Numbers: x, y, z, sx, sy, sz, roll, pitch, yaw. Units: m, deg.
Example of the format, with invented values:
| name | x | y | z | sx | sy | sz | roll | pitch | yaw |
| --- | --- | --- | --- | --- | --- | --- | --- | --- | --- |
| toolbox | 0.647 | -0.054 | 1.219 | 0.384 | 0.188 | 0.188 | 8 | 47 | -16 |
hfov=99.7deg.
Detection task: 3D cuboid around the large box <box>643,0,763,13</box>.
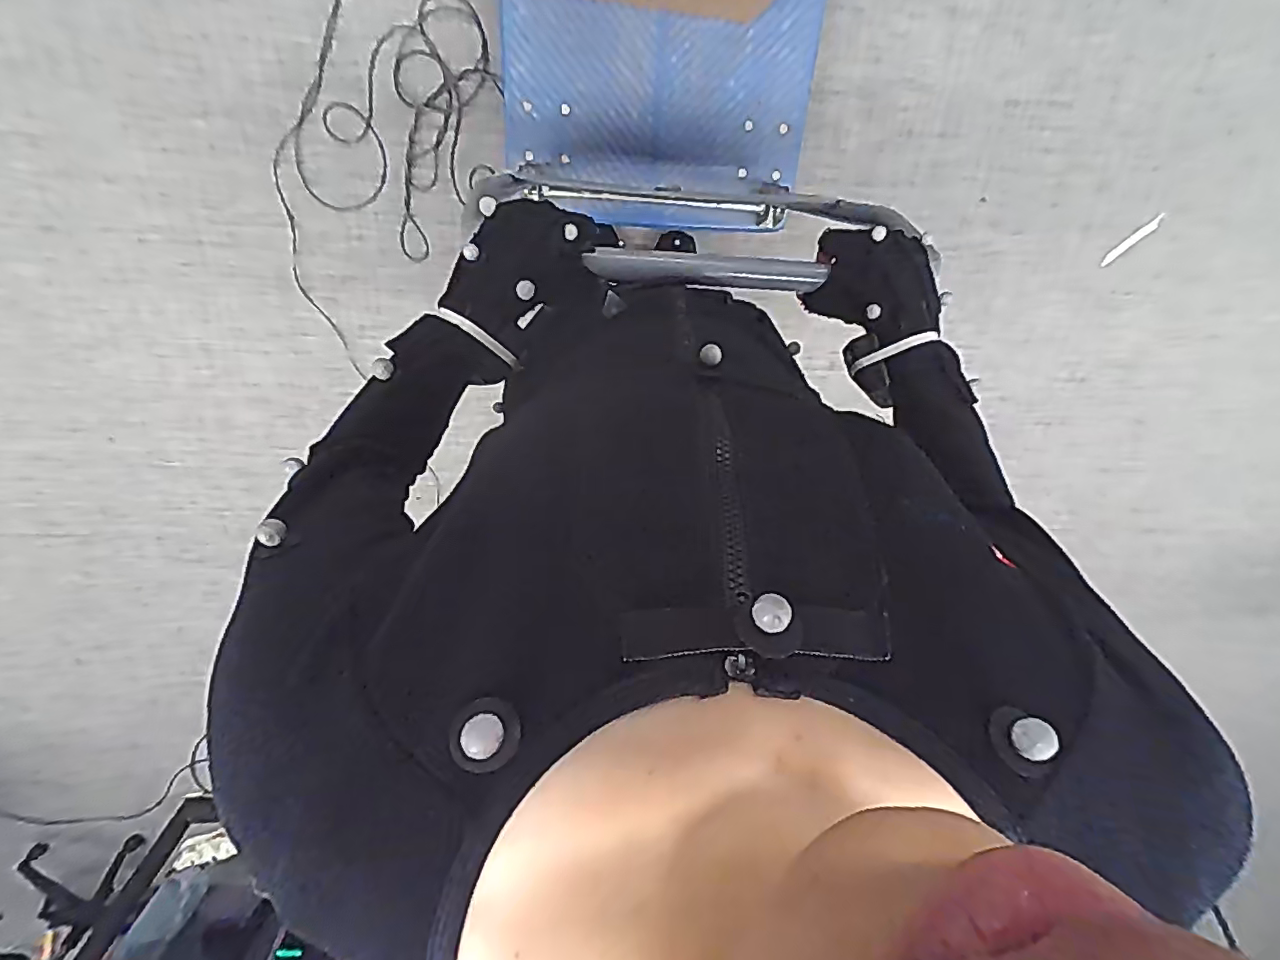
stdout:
| name | x | y | z | sx | sy | sz | roll | pitch | yaw |
| --- | --- | --- | --- | --- | --- | --- | --- | --- | --- |
| large box | 0.029 | -0.905 | 0.754 | 0.408 | 0.320 | 0.320 | 3 | 118 | -5 |
